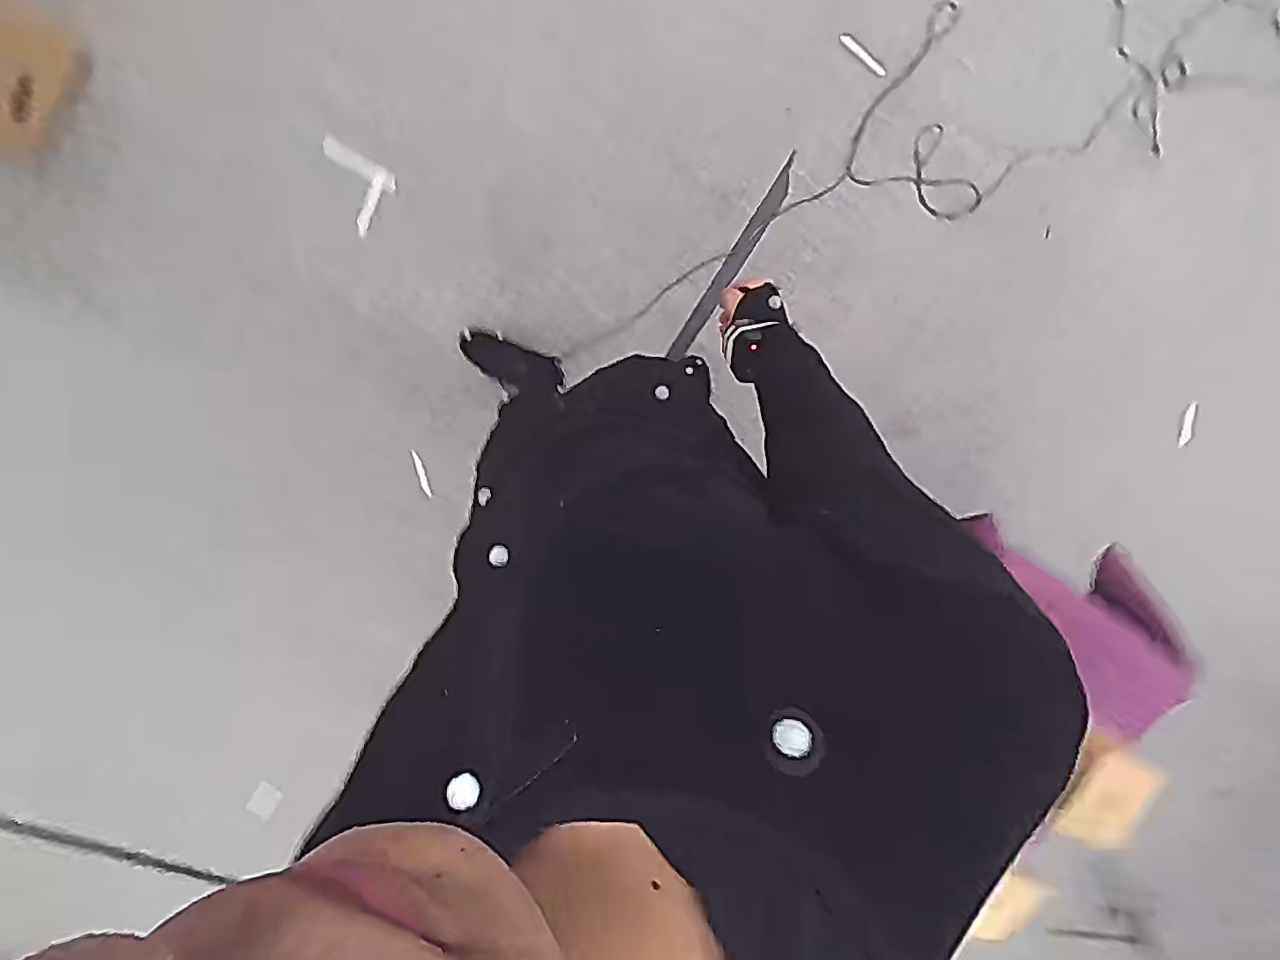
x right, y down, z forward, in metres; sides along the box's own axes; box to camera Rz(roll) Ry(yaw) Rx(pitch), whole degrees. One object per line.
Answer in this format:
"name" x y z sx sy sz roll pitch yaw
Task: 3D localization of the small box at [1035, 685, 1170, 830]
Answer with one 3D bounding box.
"small box" 0.871 0.547 1.083 0.168 0.176 0.179 25 104 -13
